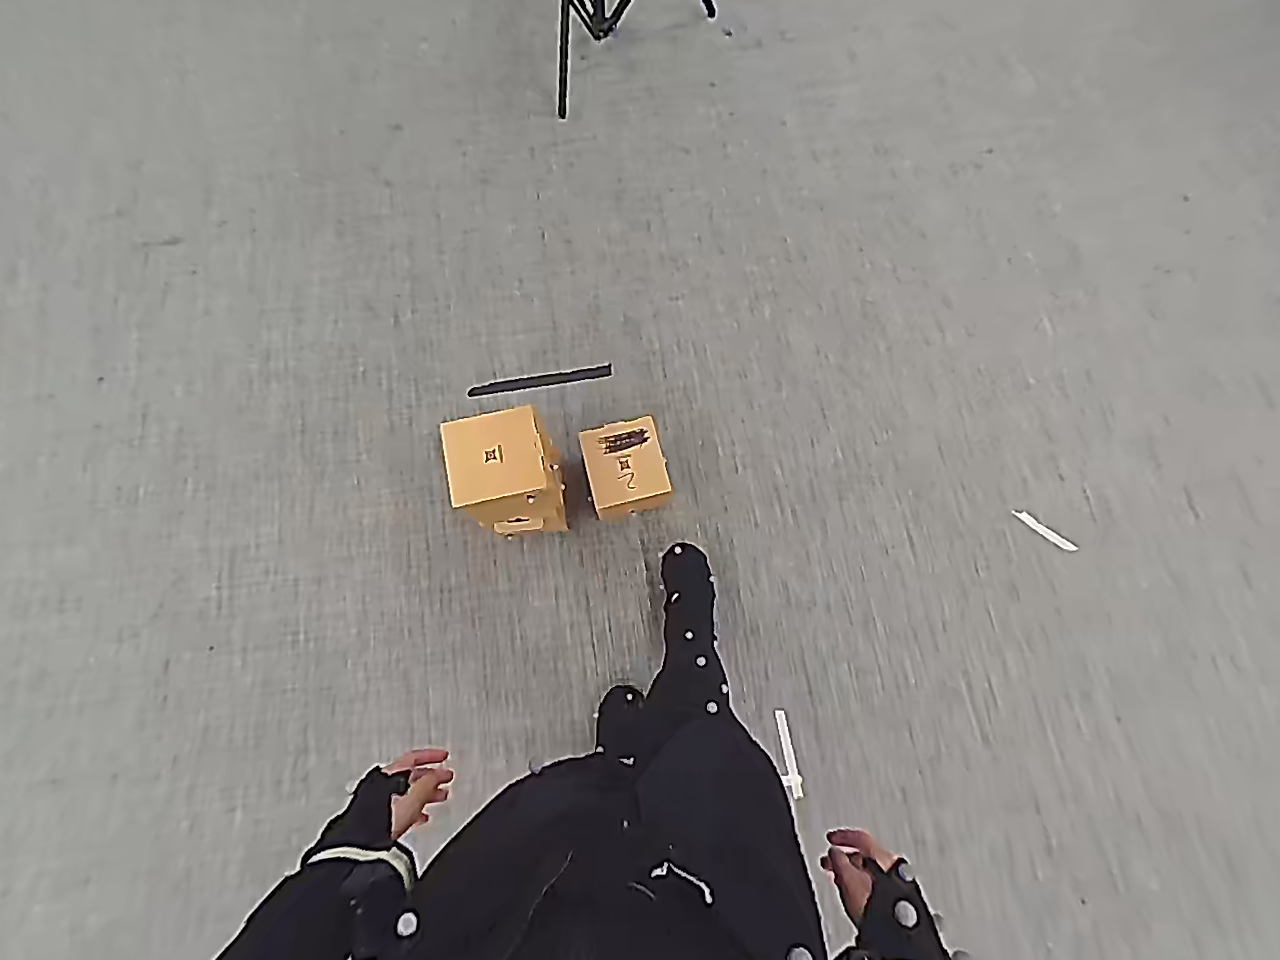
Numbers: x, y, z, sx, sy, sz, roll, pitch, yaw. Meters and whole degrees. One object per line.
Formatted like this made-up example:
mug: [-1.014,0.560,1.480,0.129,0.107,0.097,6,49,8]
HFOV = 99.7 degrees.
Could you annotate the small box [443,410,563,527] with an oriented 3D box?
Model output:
small box: [-0.261,-0.015,1.056,0.179,0.176,0.168,-13,76,-3]

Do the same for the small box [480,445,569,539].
small box: [-0.255,0.034,1.212,0.168,0.176,0.179,-6,75,-1]
